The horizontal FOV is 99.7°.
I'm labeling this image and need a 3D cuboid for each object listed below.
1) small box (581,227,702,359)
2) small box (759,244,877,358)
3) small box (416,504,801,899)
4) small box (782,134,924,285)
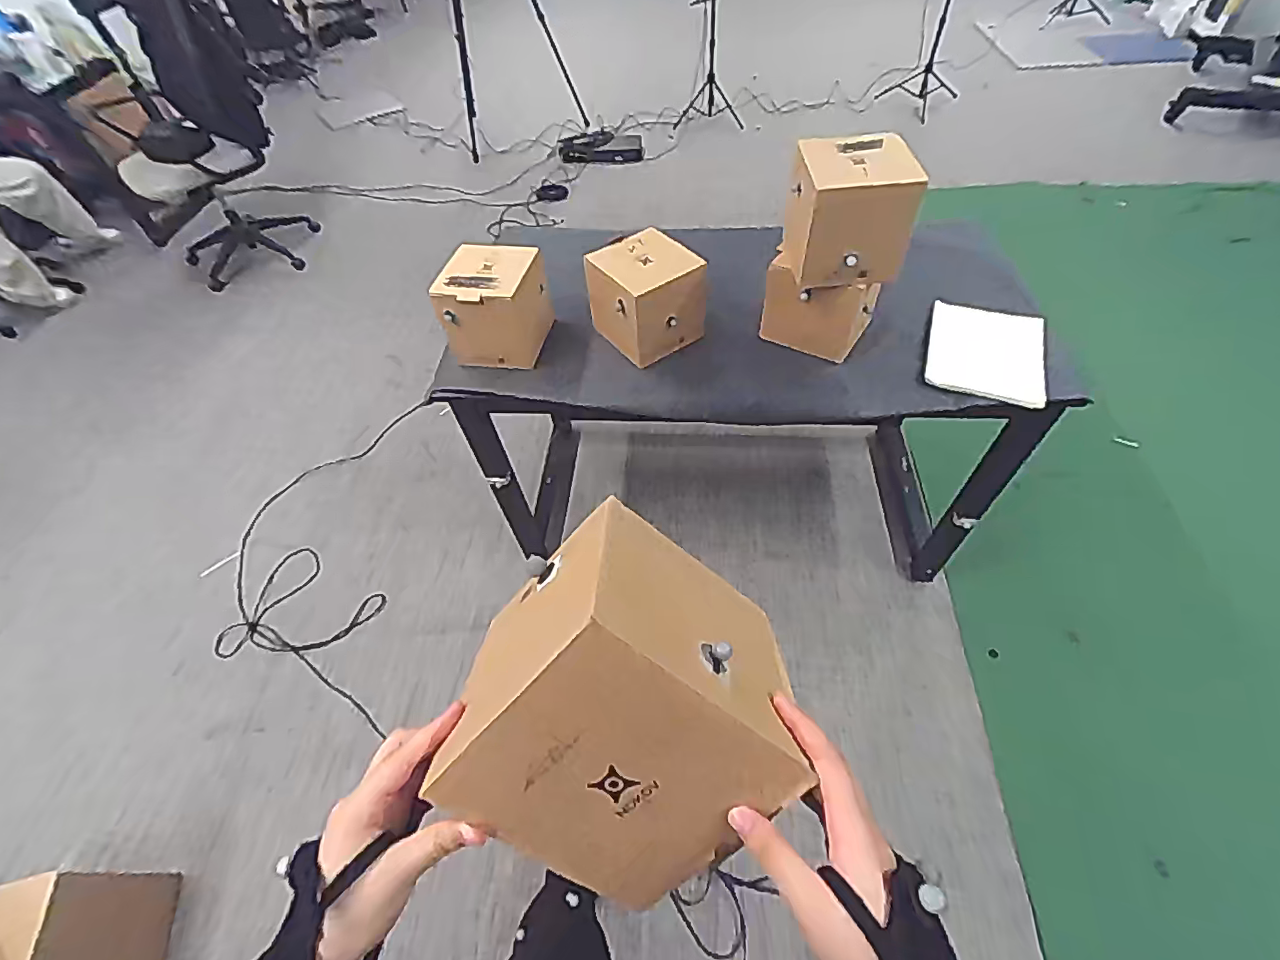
[{"bbox_3d":[0.006,-0.363,1.072,0.168,0.176,0.179,-31,57,-19],"label":"small box"},{"bbox_3d":[0.350,-0.363,1.046,0.179,0.176,0.168,26,59,23],"label":"small box"},{"bbox_3d":[-0.018,0.146,0.398,0.179,0.168,0.176,37,16,-12],"label":"small box"},{"bbox_3d":[0.340,-0.450,0.906,0.168,0.176,0.179,-3,53,4],"label":"small box"}]
